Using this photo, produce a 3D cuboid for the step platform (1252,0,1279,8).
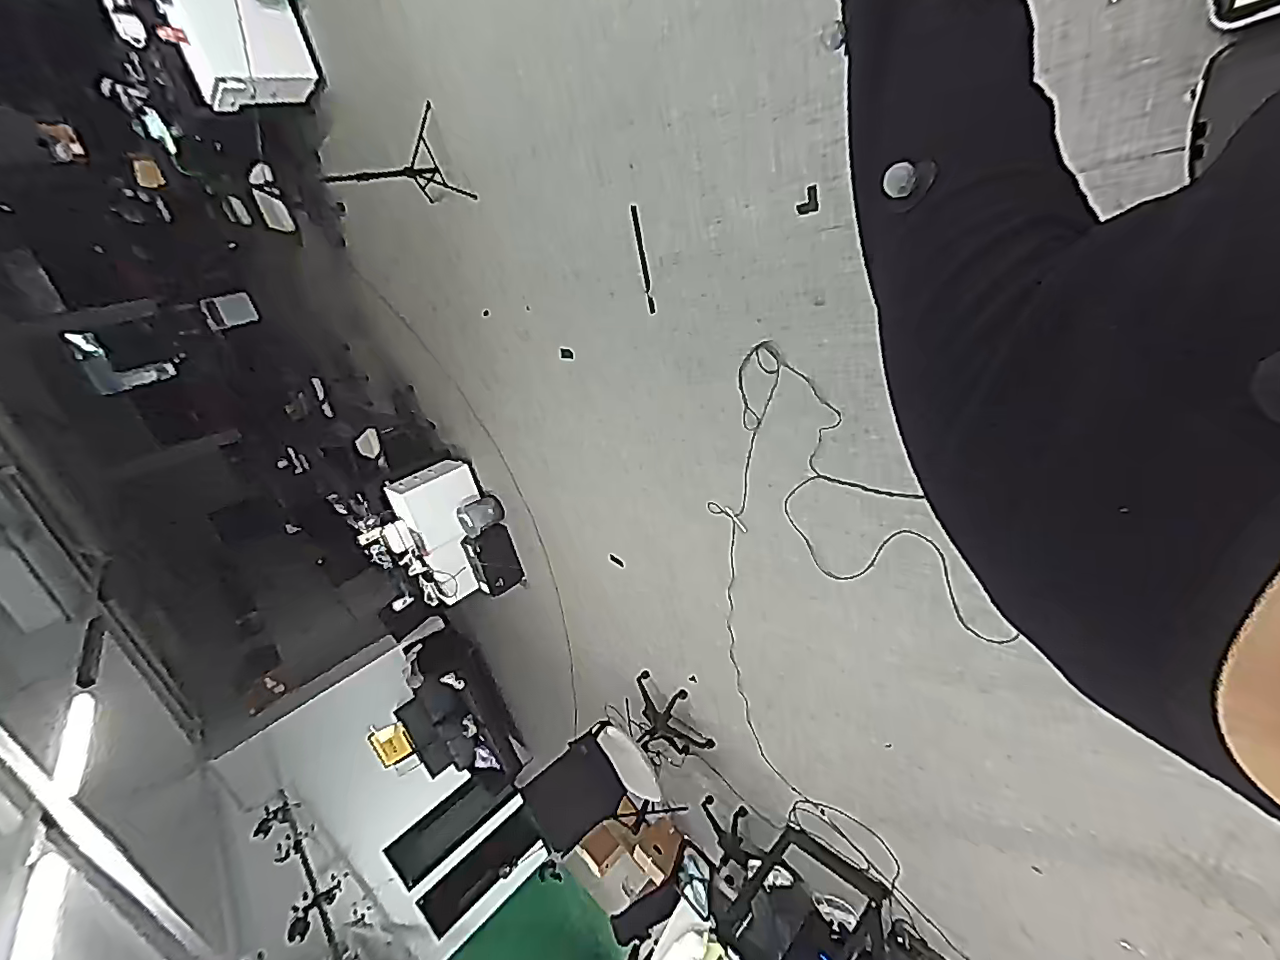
[{"bbox_3d":[1.149,-0.832,0.567,0.684,0.204,0.286,8,121,47],"label":"step platform"}]
